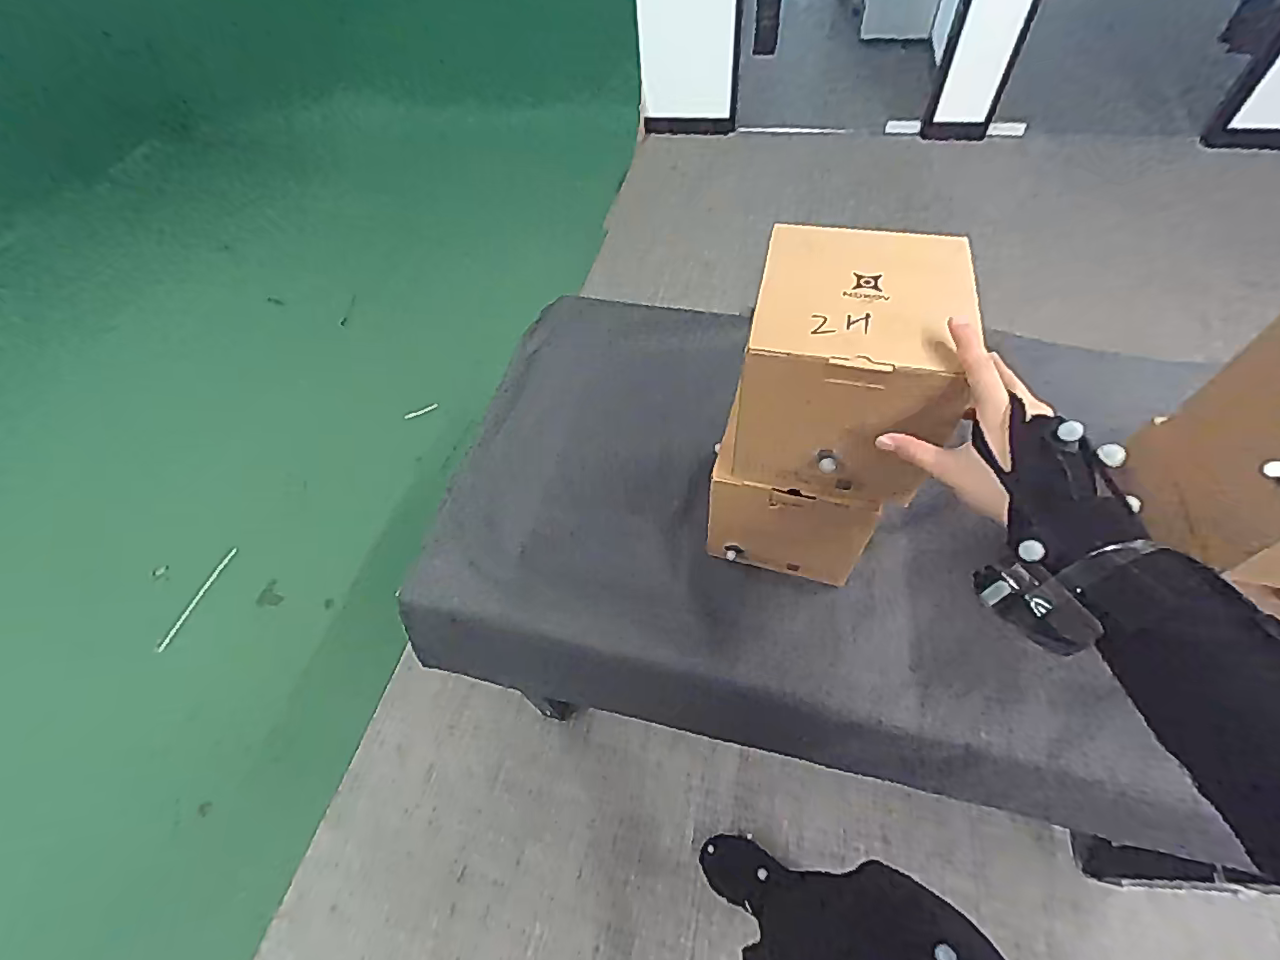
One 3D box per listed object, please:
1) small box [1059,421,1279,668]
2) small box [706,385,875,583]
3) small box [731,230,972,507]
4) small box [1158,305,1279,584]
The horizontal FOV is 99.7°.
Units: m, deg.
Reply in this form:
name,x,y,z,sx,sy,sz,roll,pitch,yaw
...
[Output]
name,x,y,z,sx,sy,sz,roll,pitch,yaw
small box,0.567,0.070,0.547,0.168,0.176,0.179,11,57,13
small box,0.177,-0.003,0.635,0.168,0.176,0.179,13,56,13
small box,0.181,-0.102,0.503,0.168,0.176,0.179,10,55,13
small box,0.560,-0.019,0.410,0.168,0.176,0.179,10,55,12
